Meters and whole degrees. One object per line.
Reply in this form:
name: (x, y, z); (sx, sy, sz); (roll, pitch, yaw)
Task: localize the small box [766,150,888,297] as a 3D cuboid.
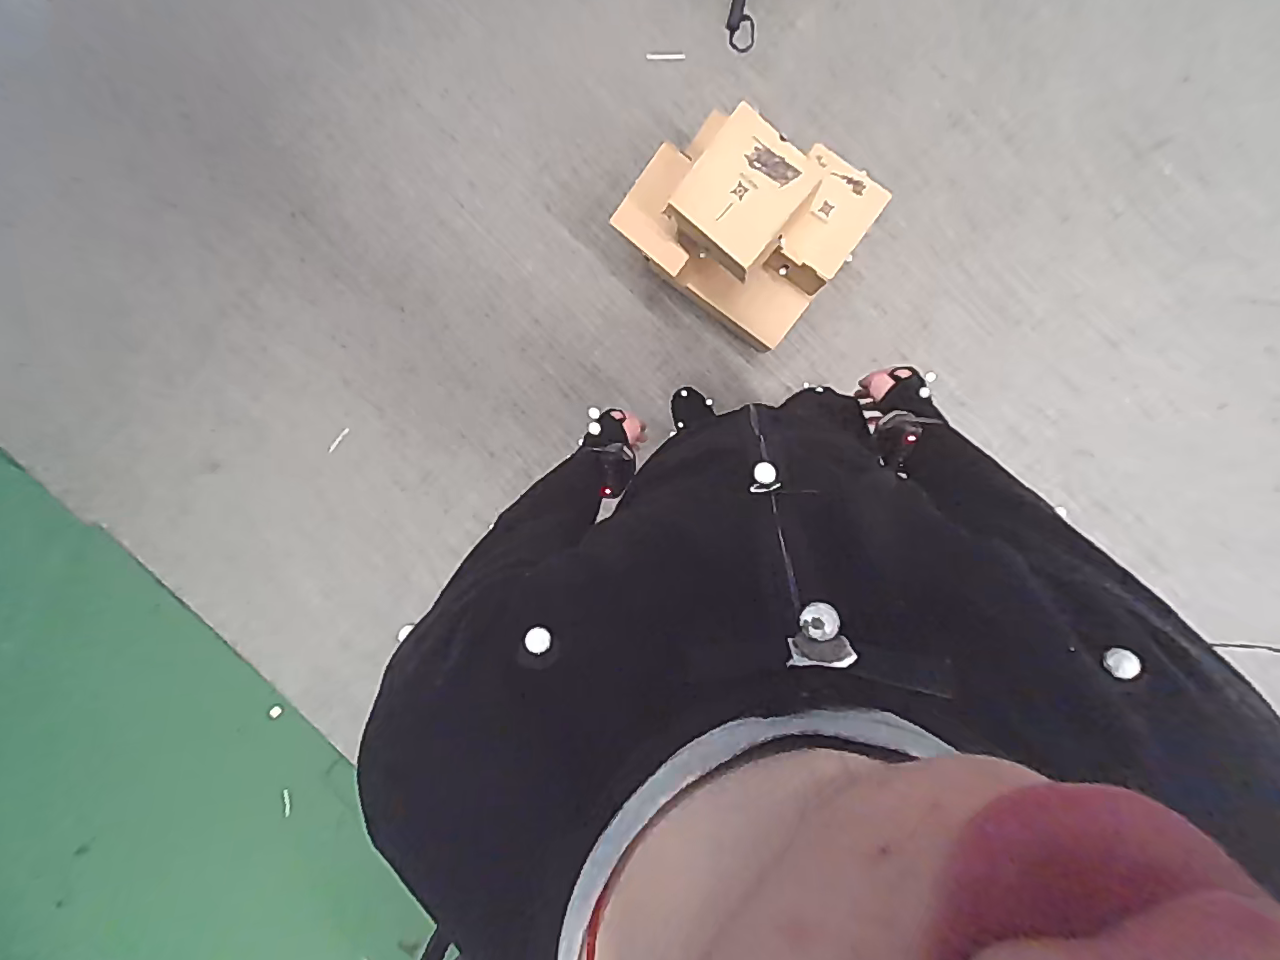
small box: (0.334, -0.476, 1.038); (0.168, 0.176, 0.179); (36, 103, 1)

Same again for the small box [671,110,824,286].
small box: (0.173, -0.451, 0.899); (0.168, 0.176, 0.179); (41, 106, 0)
